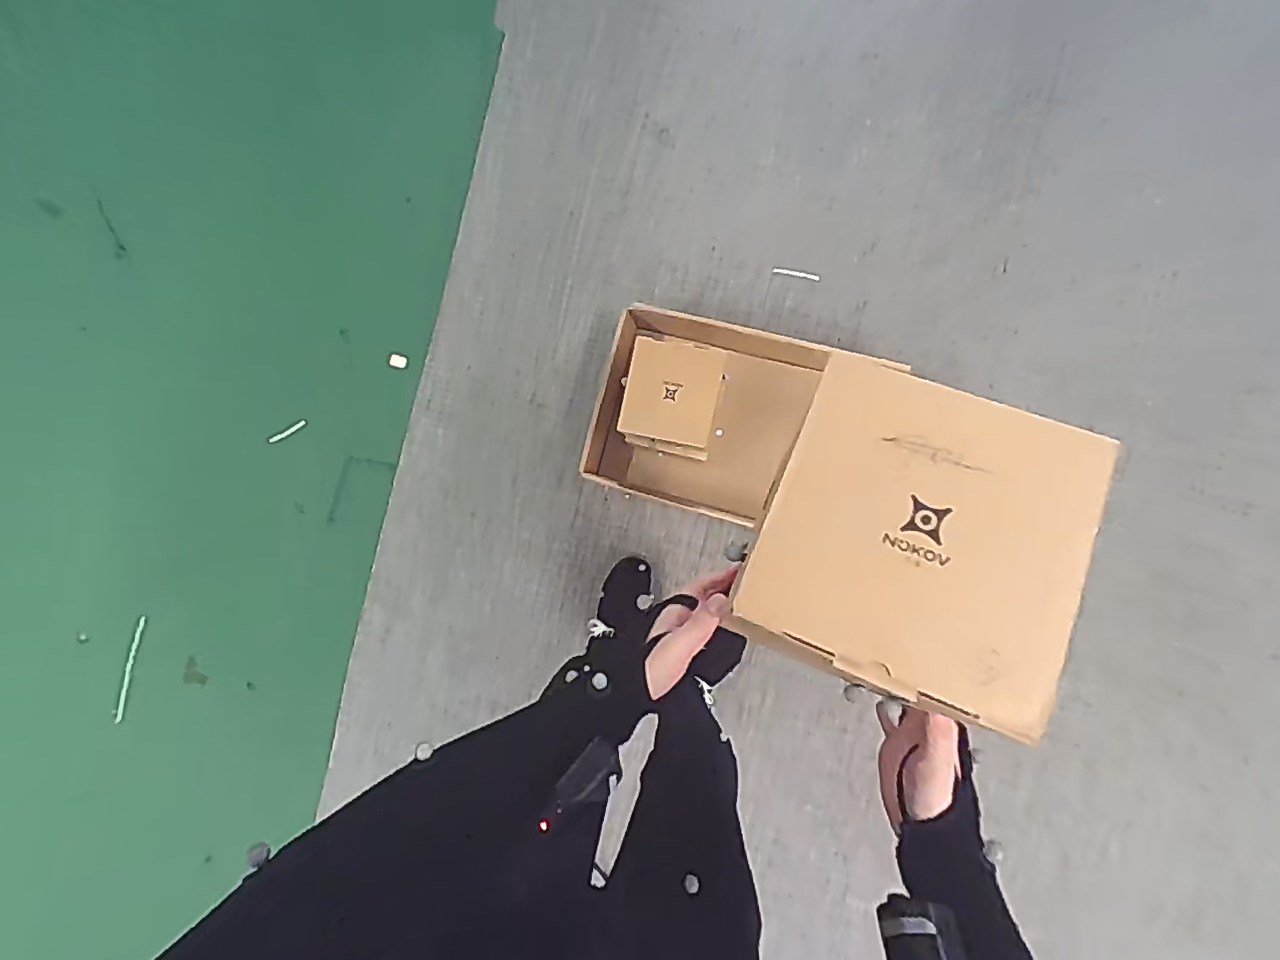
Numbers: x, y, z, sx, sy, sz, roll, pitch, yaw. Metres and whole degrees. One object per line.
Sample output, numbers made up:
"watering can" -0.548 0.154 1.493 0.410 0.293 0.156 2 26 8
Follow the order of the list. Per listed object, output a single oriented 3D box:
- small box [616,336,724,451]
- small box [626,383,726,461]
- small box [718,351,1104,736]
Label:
"small box" 0.065 -0.156 1.033 0.168 0.176 0.179 12 90 8
"small box" 0.082 -0.139 1.194 0.179 0.176 0.168 14 91 6
"small box" 0.164 0.046 0.382 0.168 0.176 0.179 22 78 13
